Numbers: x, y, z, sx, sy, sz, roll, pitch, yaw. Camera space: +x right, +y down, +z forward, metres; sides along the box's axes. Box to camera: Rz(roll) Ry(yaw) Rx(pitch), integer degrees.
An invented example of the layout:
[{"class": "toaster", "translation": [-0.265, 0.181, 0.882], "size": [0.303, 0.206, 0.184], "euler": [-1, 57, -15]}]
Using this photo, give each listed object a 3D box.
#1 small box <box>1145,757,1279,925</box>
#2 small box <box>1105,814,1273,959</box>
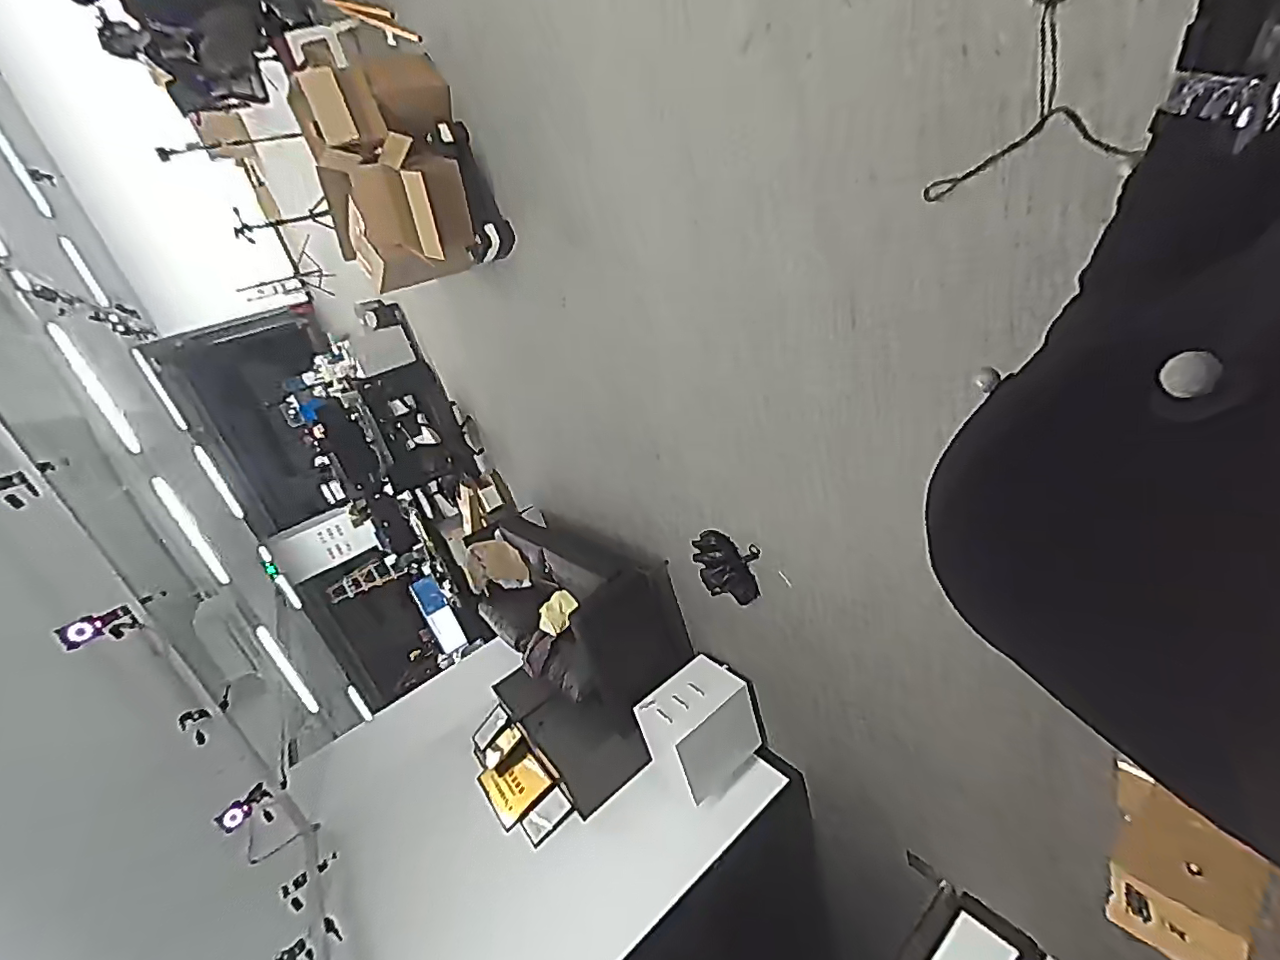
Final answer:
[{"class": "small box", "translation": [1.121, 0.684, 1.050], "size": [0.179, 0.176, 0.168], "euler": [16, 127, 56]}, {"class": "small box", "translation": [0.989, 0.753, 0.981], "size": [0.179, 0.176, 0.168], "euler": [13, 125, 57]}]
